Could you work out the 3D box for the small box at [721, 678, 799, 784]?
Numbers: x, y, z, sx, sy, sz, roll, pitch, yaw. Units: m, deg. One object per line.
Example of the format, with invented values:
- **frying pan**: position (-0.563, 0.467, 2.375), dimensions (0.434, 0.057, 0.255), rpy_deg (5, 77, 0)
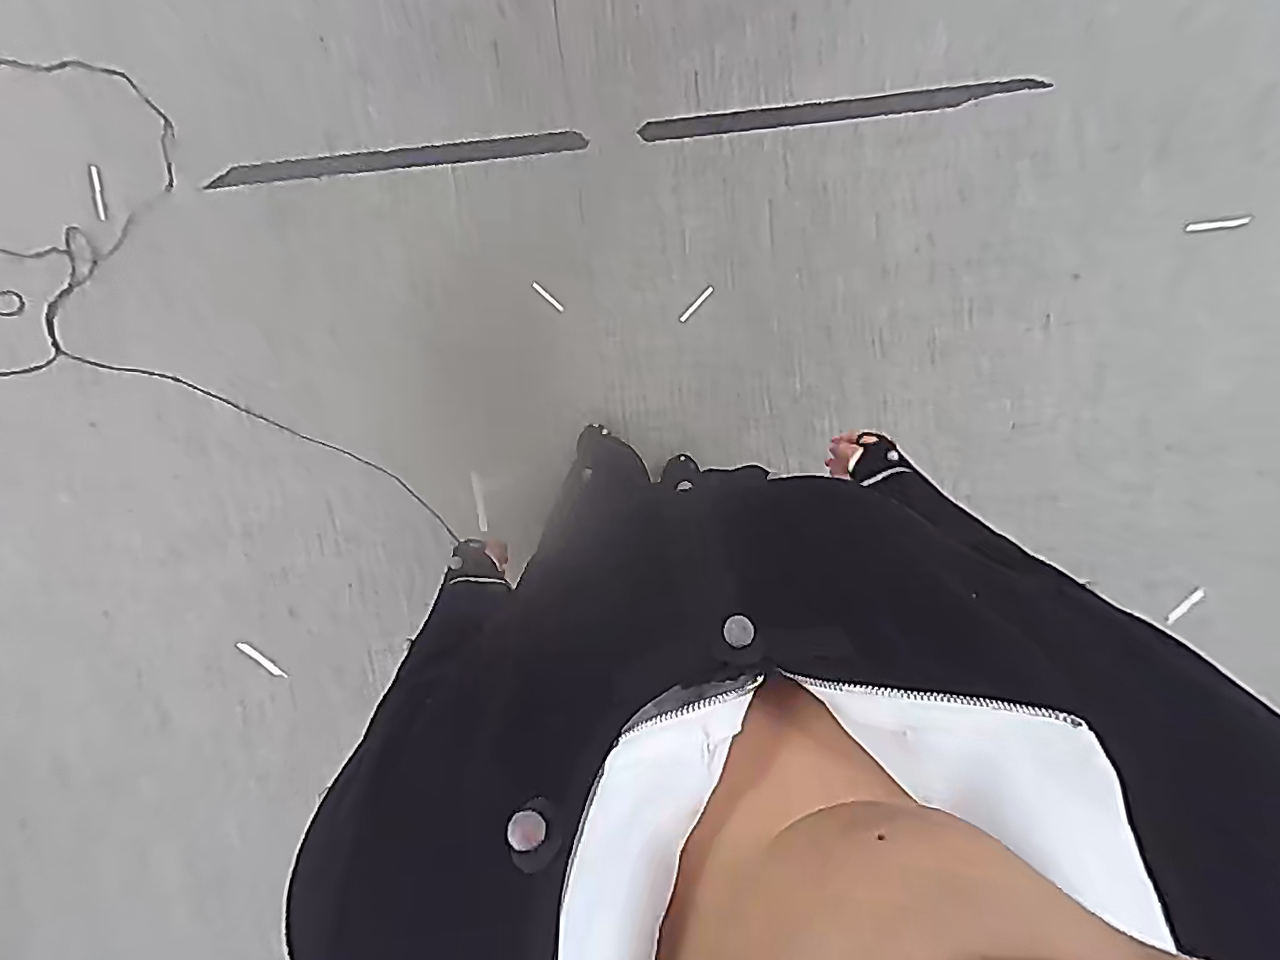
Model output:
- **small box**: position (0.302, 0.623, 1.357), dimensions (0.168, 0.176, 0.179), rpy_deg (-7, 96, 2)
